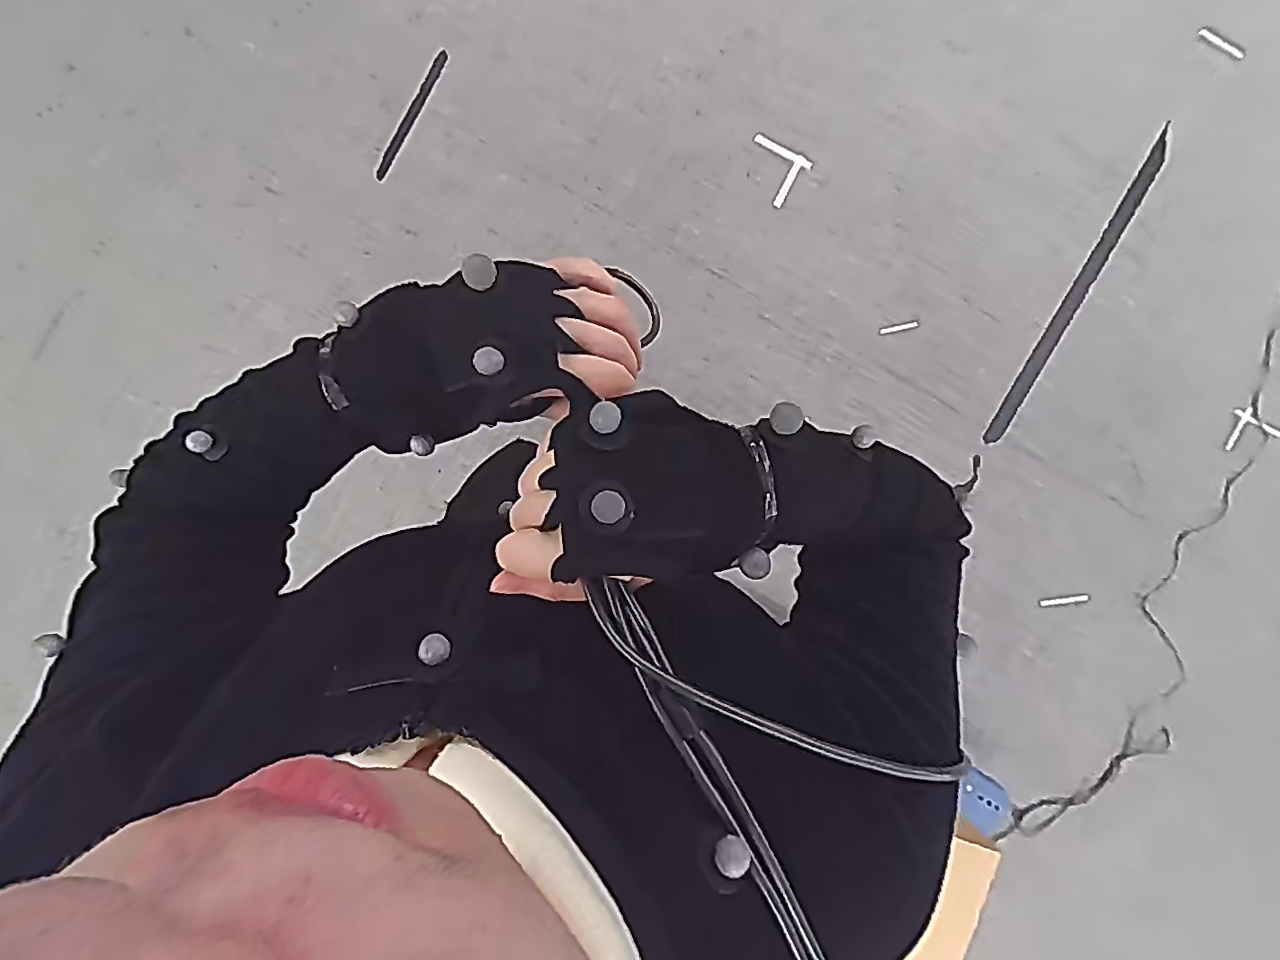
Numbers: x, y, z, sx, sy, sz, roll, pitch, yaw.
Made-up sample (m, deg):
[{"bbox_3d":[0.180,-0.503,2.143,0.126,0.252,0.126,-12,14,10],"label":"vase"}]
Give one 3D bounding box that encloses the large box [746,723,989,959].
[{"bbox_3d":[0.469,0.831,1.192,0.320,0.320,0.408,20,91,-1],"label":"large box"}]
